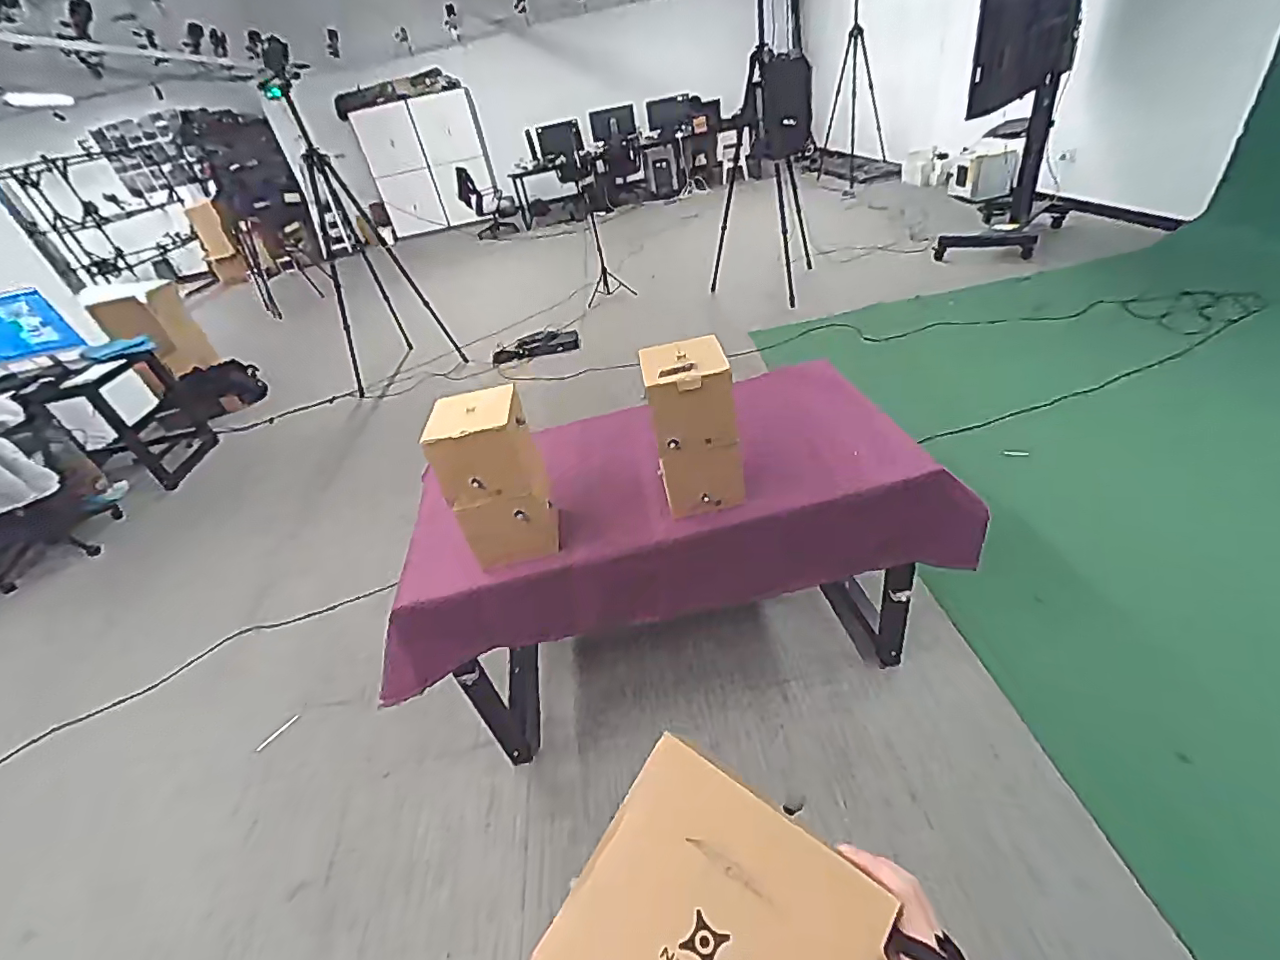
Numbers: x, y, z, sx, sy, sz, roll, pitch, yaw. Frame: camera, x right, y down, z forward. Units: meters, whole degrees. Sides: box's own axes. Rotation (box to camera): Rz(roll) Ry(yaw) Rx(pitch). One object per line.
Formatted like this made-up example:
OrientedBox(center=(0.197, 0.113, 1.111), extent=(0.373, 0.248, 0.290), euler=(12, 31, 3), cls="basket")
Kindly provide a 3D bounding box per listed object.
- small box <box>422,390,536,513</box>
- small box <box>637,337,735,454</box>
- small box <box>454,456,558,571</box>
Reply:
OrientedBox(center=(-0.317, -0.059, 1.103), extent=(0.168, 0.176, 0.179), euler=(-13, 36, 1), cls="small box")
OrientedBox(center=(0.094, -0.168, 1.112), extent=(0.168, 0.176, 0.179), euler=(-12, 35, 3), cls="small box")
OrientedBox(center=(-0.282, 0.075, 1.190), extent=(0.179, 0.176, 0.168), euler=(-13, 35, 1), cls="small box")
